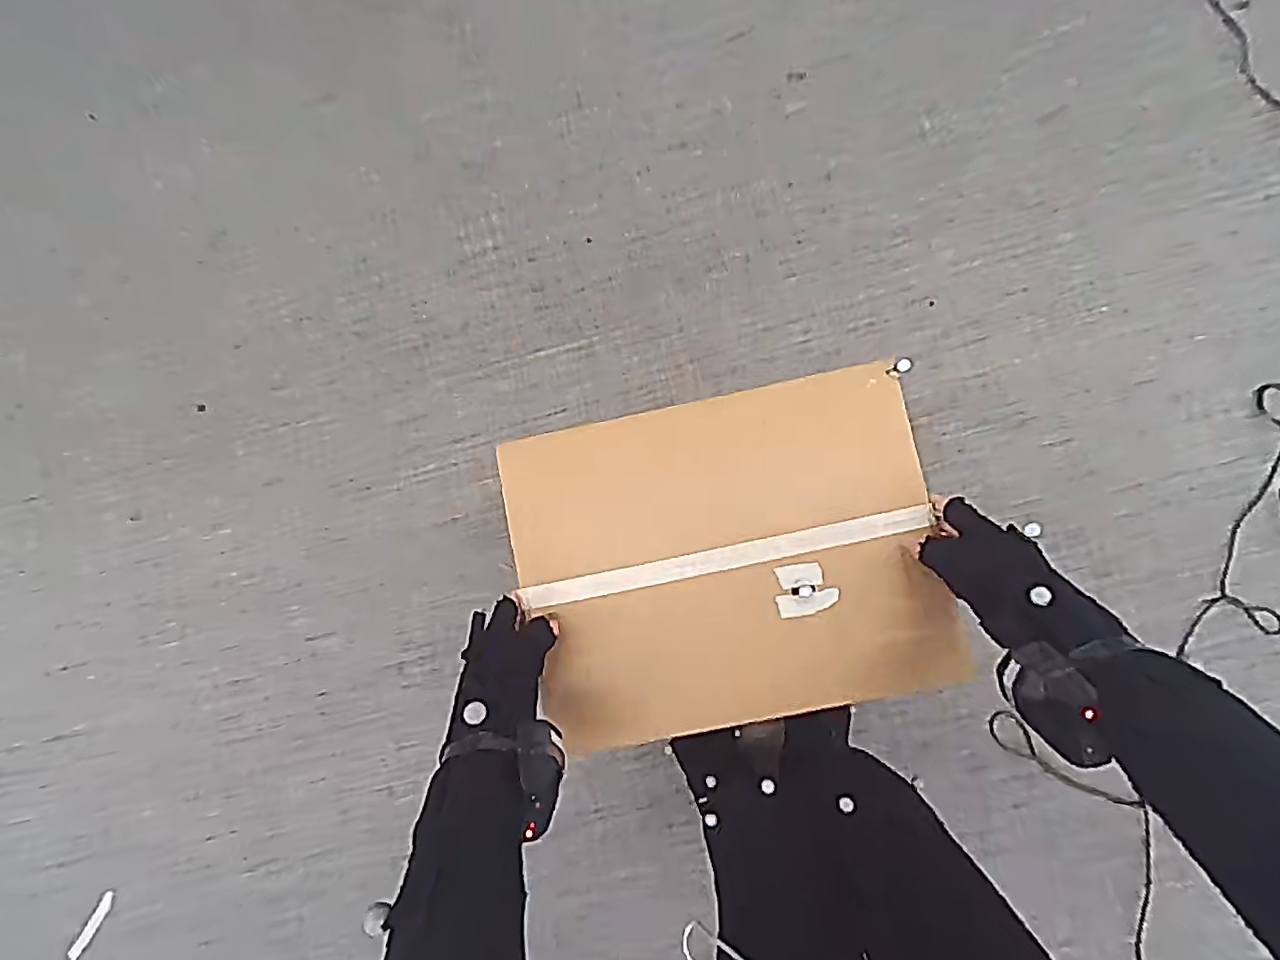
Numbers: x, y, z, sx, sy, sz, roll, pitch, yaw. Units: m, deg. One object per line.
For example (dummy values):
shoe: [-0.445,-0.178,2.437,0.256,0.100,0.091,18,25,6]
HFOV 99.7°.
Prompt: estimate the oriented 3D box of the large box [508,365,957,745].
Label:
large box: [0.092,0.087,0.694,0.408,0.320,0.320,-12,85,2]
